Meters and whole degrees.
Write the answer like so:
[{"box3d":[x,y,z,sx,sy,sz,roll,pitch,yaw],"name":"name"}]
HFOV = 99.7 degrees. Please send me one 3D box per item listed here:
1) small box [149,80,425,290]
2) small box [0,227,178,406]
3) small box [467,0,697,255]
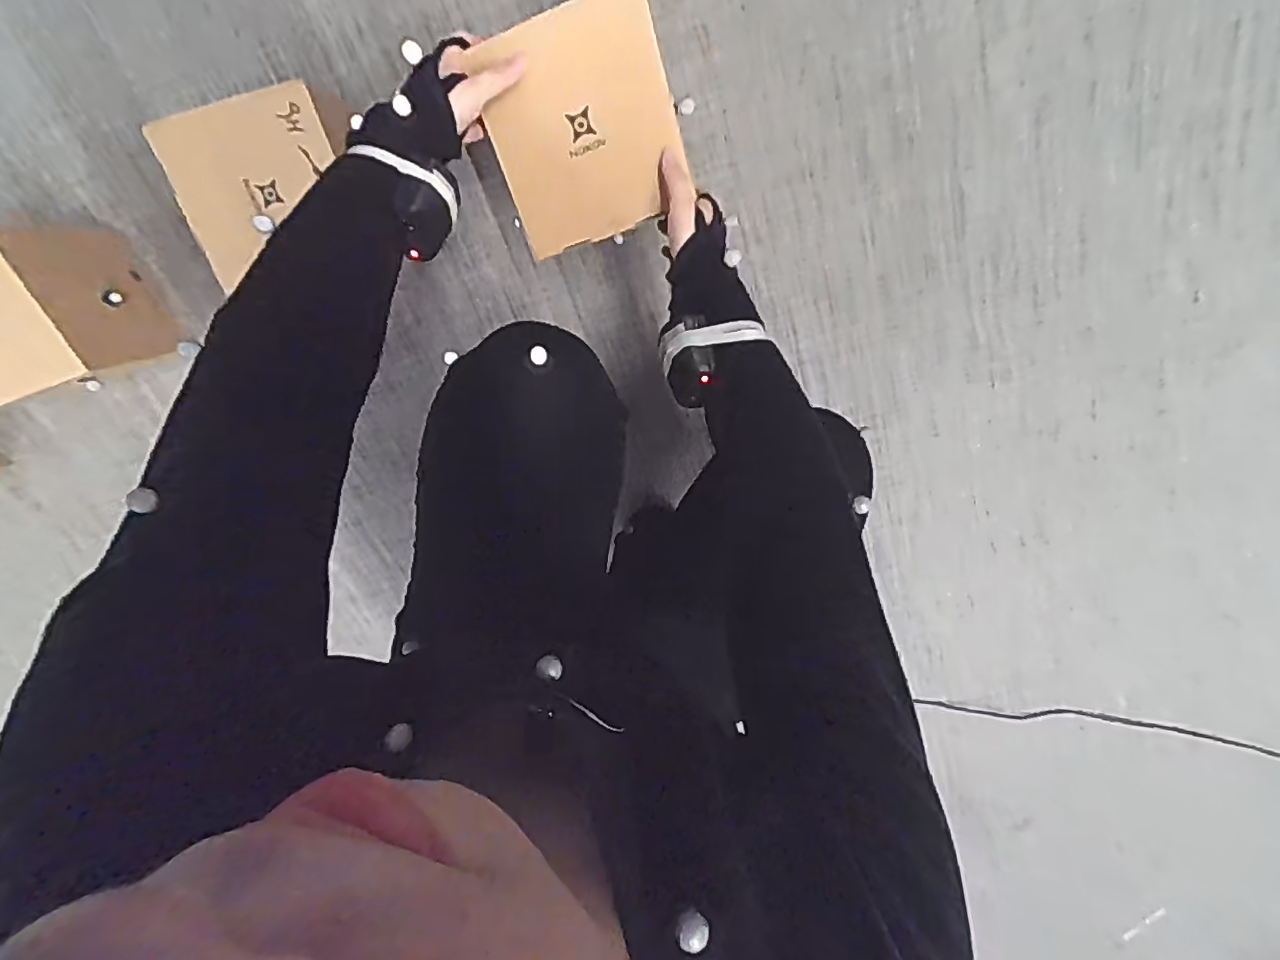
[{"box3d":[-0.384,-0.325,0.628,0.179,0.176,0.168,-12,113,3],"name":"small box"},{"box3d":[-0.736,-0.204,0.671,0.179,0.176,0.168,-17,111,6],"name":"small box"},{"box3d":[-0.043,-0.350,0.556,0.168,0.176,0.179,-14,115,13],"name":"small box"}]
